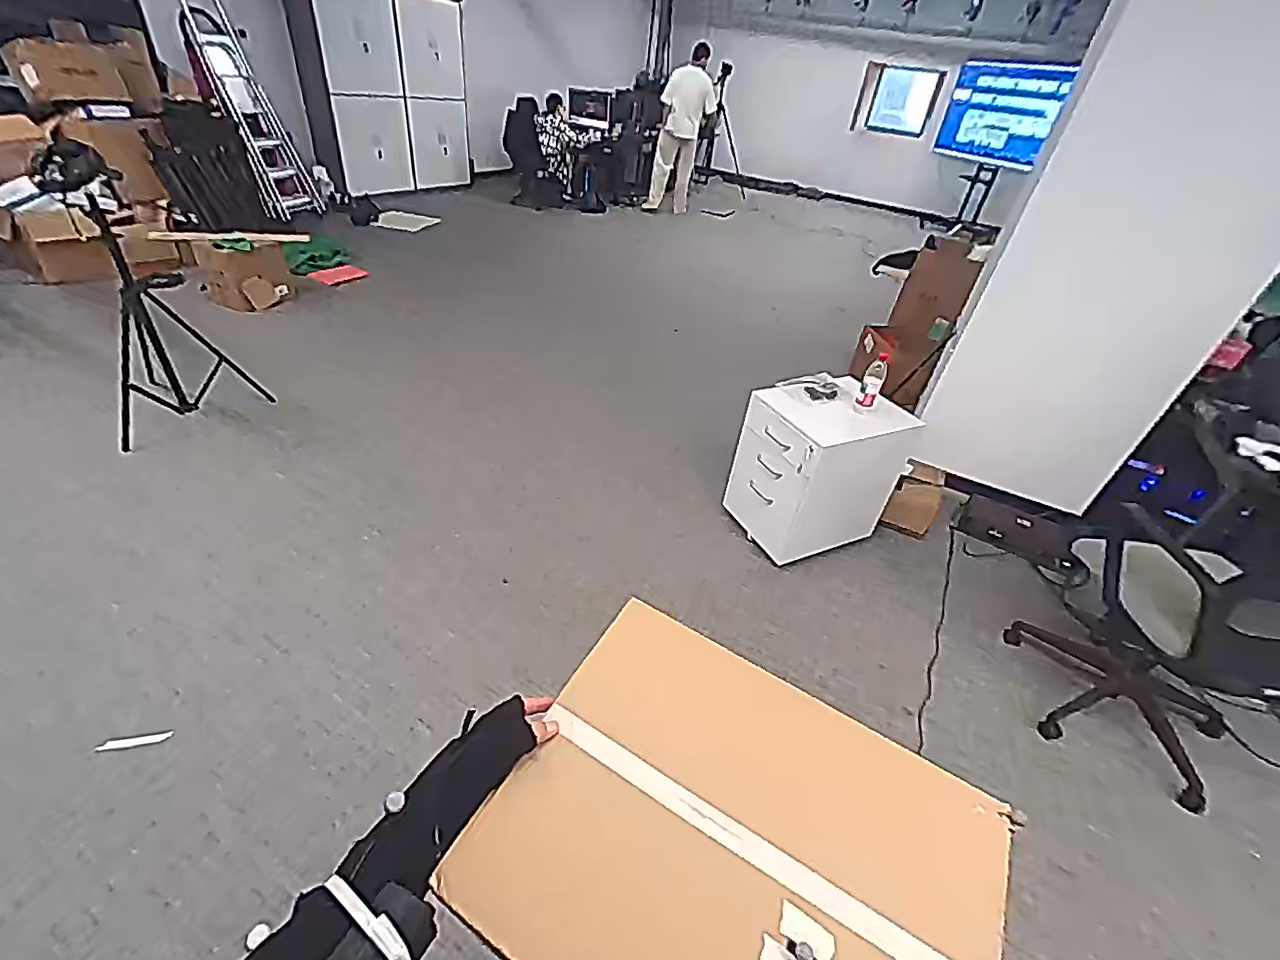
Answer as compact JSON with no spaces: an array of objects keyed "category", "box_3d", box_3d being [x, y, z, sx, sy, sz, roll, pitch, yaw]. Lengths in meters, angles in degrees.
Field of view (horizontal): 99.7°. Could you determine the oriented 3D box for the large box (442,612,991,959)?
[{"category":"large box","box_3d":[0.068,0.420,0.569,0.408,0.320,0.320,26,47,17]}]
